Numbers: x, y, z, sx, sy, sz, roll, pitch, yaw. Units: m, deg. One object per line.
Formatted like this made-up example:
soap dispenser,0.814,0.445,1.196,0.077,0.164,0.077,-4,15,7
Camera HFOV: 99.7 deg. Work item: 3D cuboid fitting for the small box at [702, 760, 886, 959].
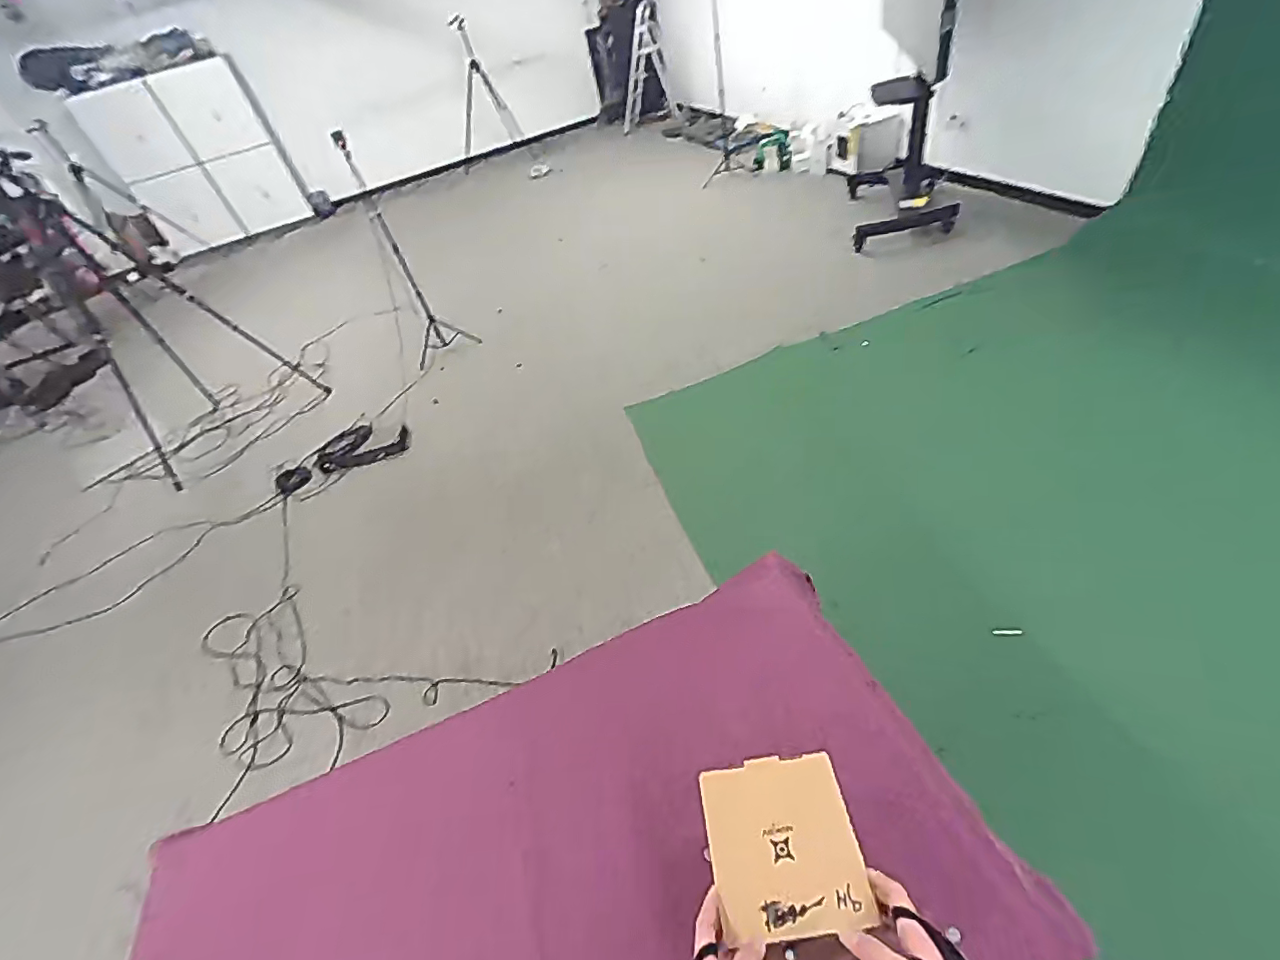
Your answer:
small box,0.177,0.473,0.656,0.168,0.176,0.179,-12,40,6
